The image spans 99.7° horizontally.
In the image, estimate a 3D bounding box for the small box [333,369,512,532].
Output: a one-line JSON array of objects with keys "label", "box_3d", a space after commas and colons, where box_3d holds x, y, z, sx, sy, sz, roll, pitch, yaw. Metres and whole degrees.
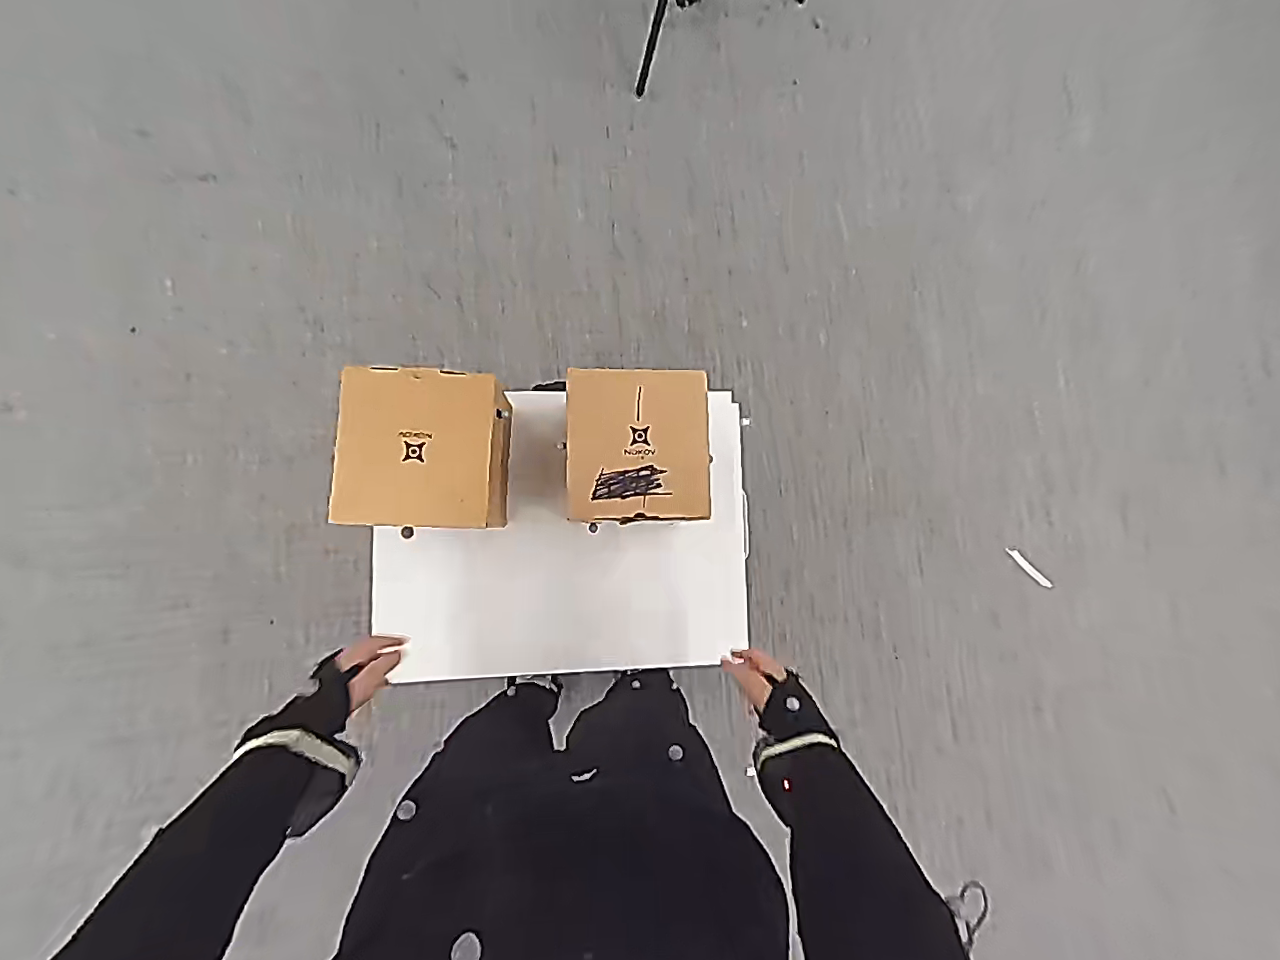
[{"label": "small box", "box_3d": [-0.253, -0.026, 0.671, 0.168, 0.176, 0.179, 2, 84, -7]}]

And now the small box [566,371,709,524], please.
[{"label": "small box", "box_3d": [-0.009, -0.032, 0.698, 0.168, 0.176, 0.179, 0, 84, -6]}]
